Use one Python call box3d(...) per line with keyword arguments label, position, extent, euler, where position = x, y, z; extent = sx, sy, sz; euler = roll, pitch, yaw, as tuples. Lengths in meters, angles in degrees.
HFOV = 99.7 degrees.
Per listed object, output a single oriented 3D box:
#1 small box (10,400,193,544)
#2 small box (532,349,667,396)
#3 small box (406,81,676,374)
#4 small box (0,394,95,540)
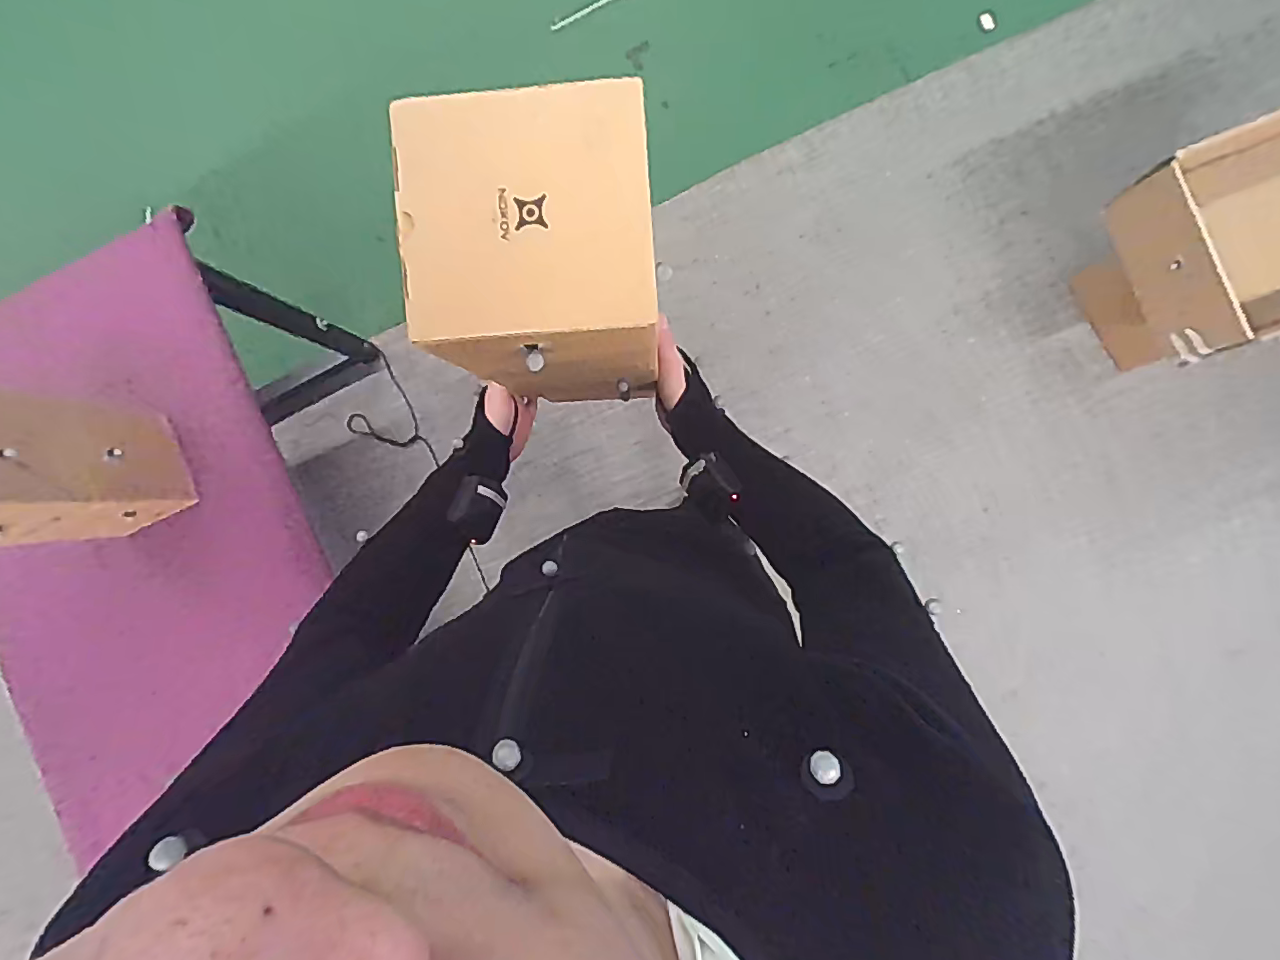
box3d(label="small box", position=(-0.898, -0.013, 0.891), extent=(0.168, 0.176, 0.179), euler=(-23, 88, 3))
box3d(label="small box", position=(-0.053, -0.211, 0.771), extent=(0.179, 0.176, 0.168), euler=(-2, 93, 3))
box3d(label="small box", position=(-0.064, -0.184, 0.445), extent=(0.179, 0.176, 0.168), euler=(-3, 93, 3))
box3d(label="small box", position=(-0.911, -0.013, 0.729), extent=(0.168, 0.176, 0.179), euler=(-24, 89, 2))
